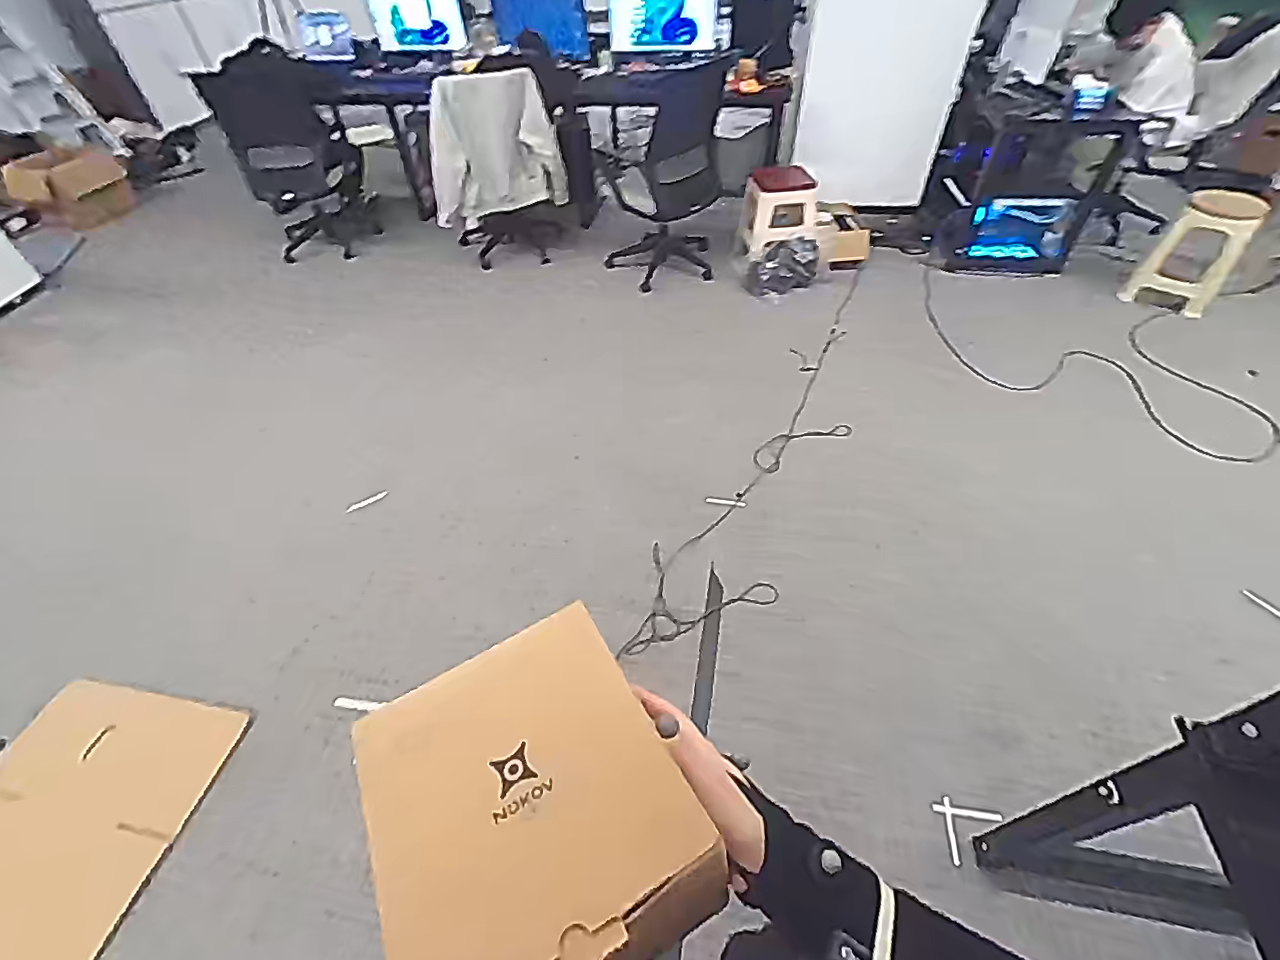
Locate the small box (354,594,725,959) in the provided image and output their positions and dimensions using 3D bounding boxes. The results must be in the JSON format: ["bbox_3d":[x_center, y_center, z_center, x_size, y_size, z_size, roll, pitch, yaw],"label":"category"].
[{"bbox_3d":[-0.060,0.218,0.361,0.168,0.176,0.179,-27,47,-16],"label":"small box"}]
